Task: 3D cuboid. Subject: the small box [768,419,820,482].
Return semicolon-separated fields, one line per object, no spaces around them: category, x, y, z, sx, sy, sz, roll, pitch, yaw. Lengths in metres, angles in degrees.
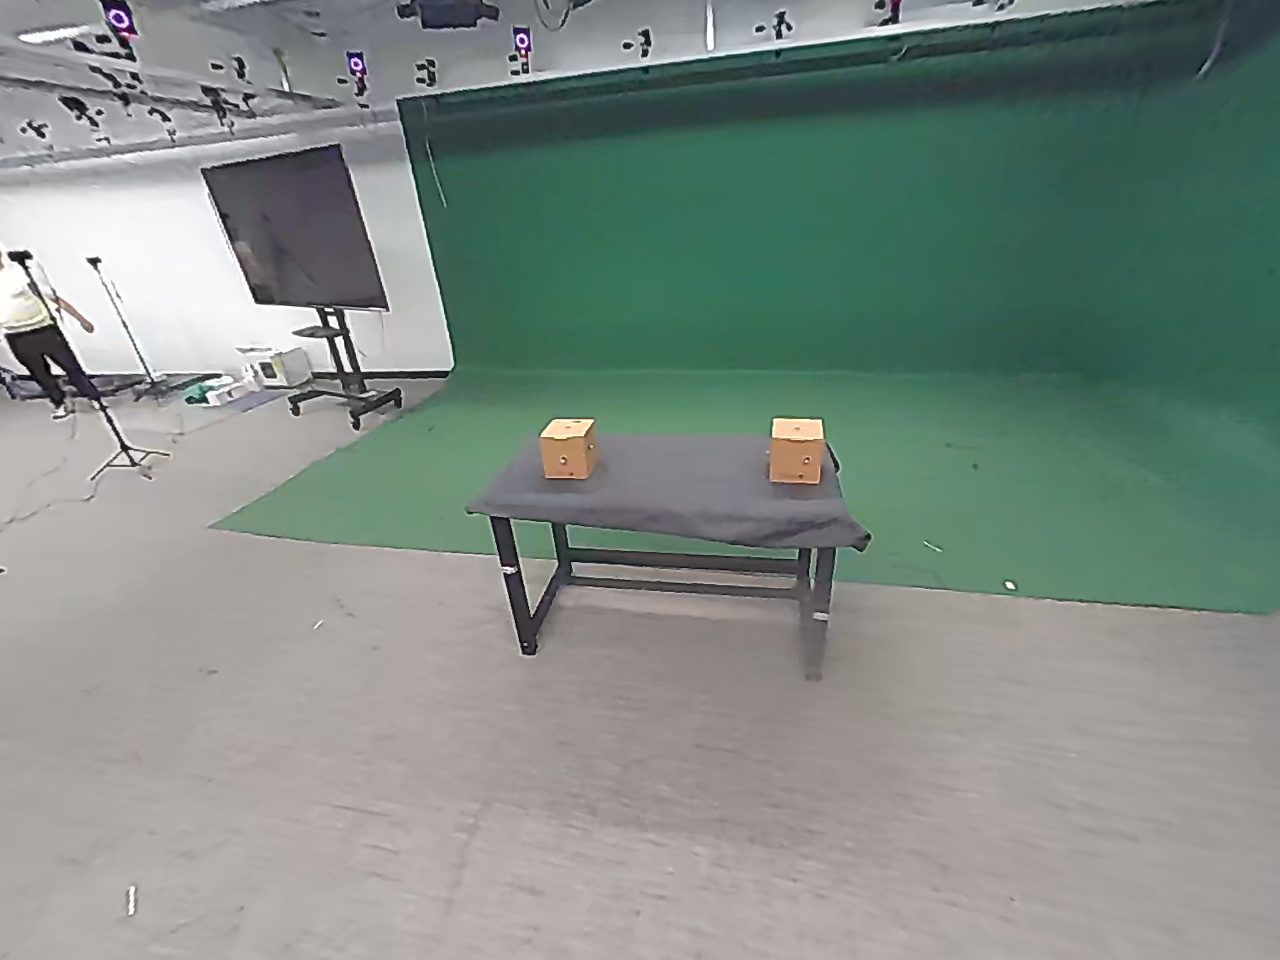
small box;0.535;-0.102;1.881;0.168;0.176;0.179;4;27;14

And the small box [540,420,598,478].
small box;-0.259;-0.115;2.030;0.168;0.176;0.179;1;28;10
